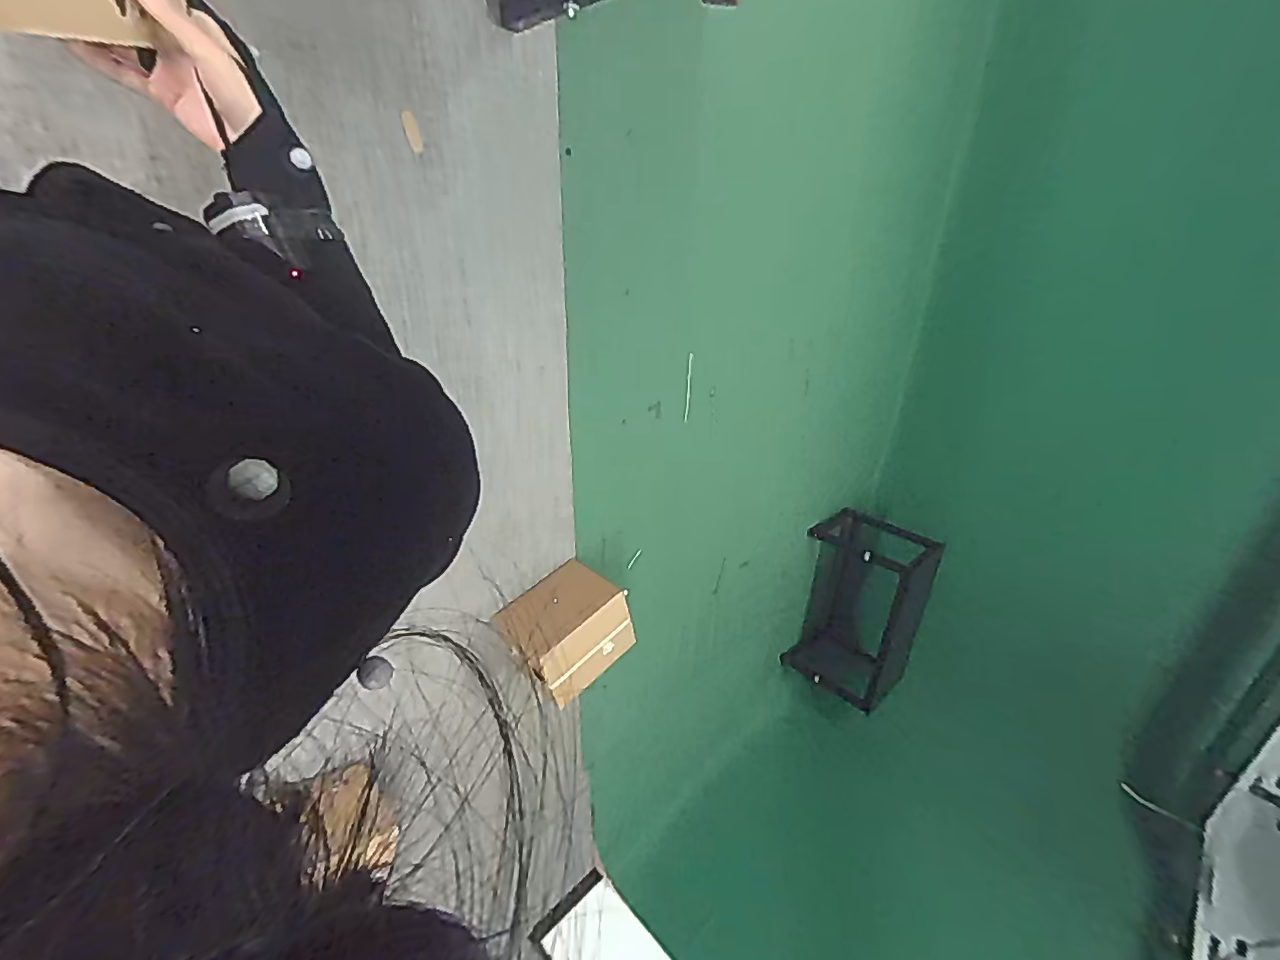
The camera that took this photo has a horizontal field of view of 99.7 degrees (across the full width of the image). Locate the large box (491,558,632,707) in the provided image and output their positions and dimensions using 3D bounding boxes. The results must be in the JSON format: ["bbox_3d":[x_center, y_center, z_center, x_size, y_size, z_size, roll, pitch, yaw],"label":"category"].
[{"bbox_3d":[-0.298,0.581,2.117,0.408,0.320,0.320,-36,133,-32],"label":"large box"}]
